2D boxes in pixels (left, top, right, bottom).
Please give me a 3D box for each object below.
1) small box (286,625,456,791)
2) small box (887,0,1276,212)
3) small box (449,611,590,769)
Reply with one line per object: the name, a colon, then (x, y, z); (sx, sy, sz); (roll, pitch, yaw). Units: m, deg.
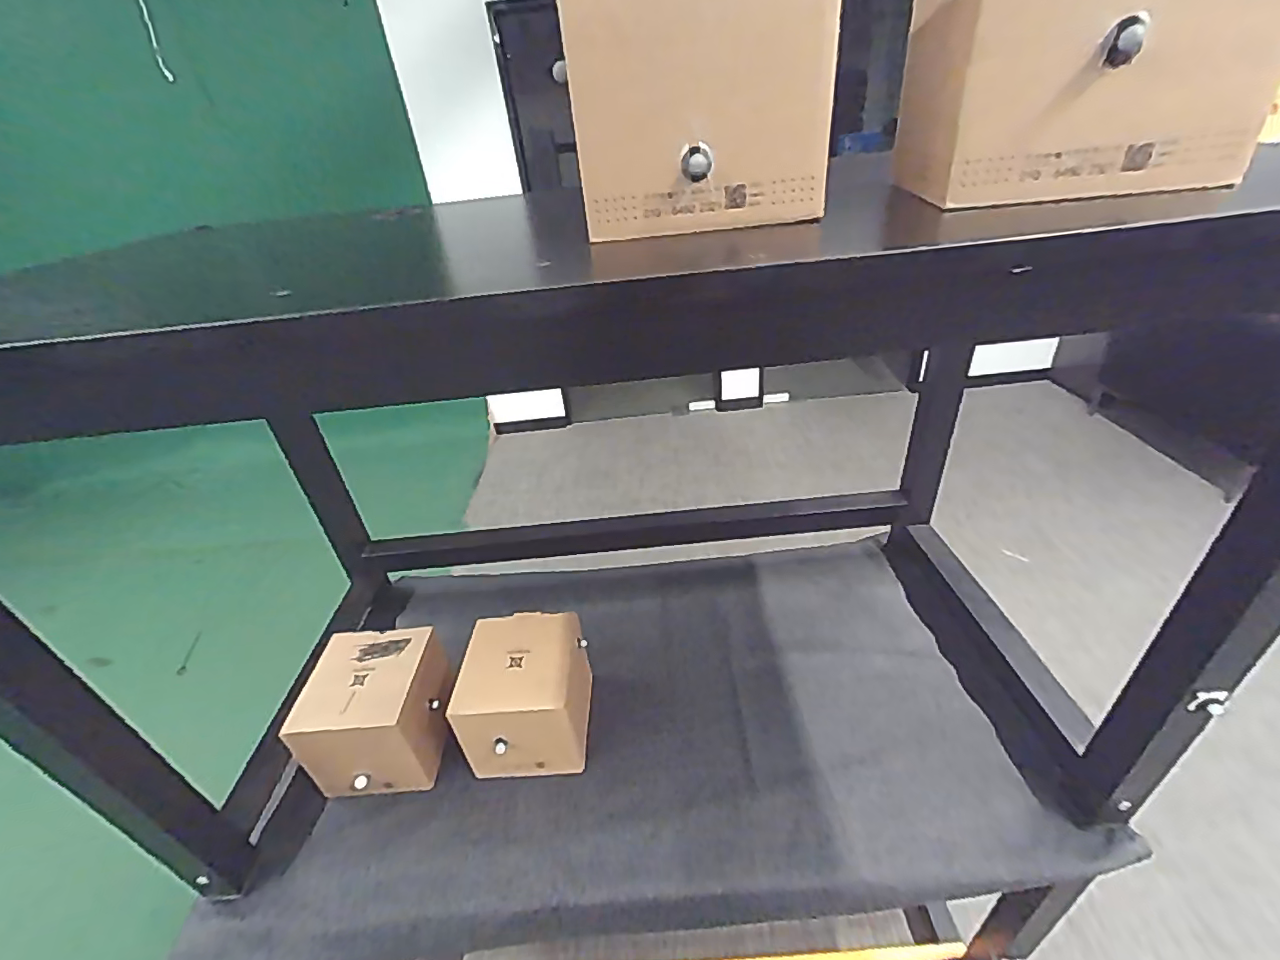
small box: (-0.402, 0.355, 0.849); (0.168, 0.176, 0.179); (-5, 33, 2)
small box: (0.285, -0.292, 0.380); (0.168, 0.176, 0.179); (1, 33, 11)
small box: (-0.175, 0.332, 0.851); (0.168, 0.176, 0.179); (-4, 32, 3)
